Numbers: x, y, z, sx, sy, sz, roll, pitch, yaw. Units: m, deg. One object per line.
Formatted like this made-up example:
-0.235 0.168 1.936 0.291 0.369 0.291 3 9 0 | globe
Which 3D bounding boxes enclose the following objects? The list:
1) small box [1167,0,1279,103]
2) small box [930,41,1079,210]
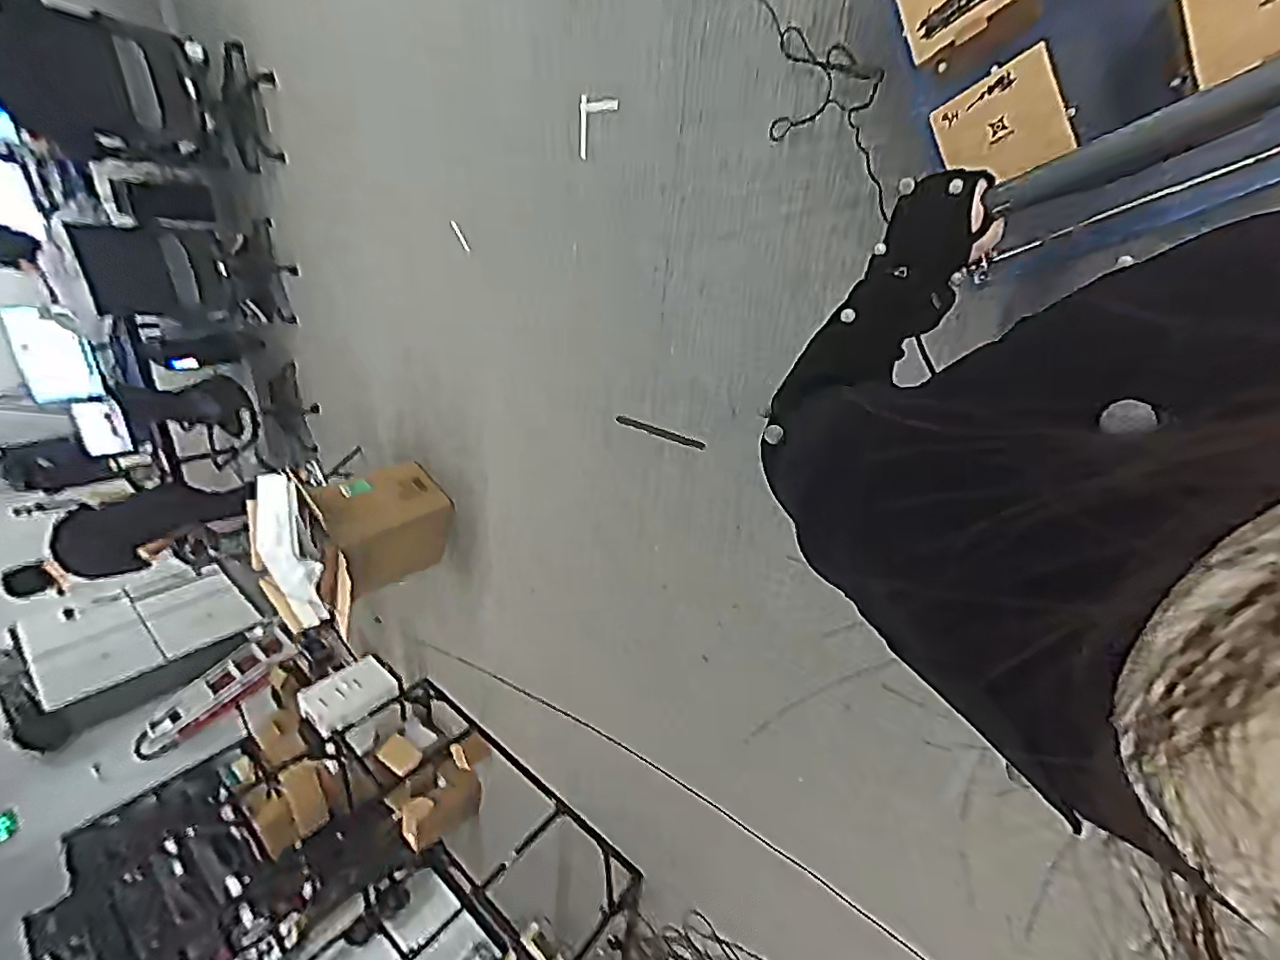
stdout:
0.841 -0.645 0.725 0.168 0.176 0.179 -13 98 42 | small box
0.628 -0.588 0.926 0.168 0.176 0.179 -18 95 42 | small box
